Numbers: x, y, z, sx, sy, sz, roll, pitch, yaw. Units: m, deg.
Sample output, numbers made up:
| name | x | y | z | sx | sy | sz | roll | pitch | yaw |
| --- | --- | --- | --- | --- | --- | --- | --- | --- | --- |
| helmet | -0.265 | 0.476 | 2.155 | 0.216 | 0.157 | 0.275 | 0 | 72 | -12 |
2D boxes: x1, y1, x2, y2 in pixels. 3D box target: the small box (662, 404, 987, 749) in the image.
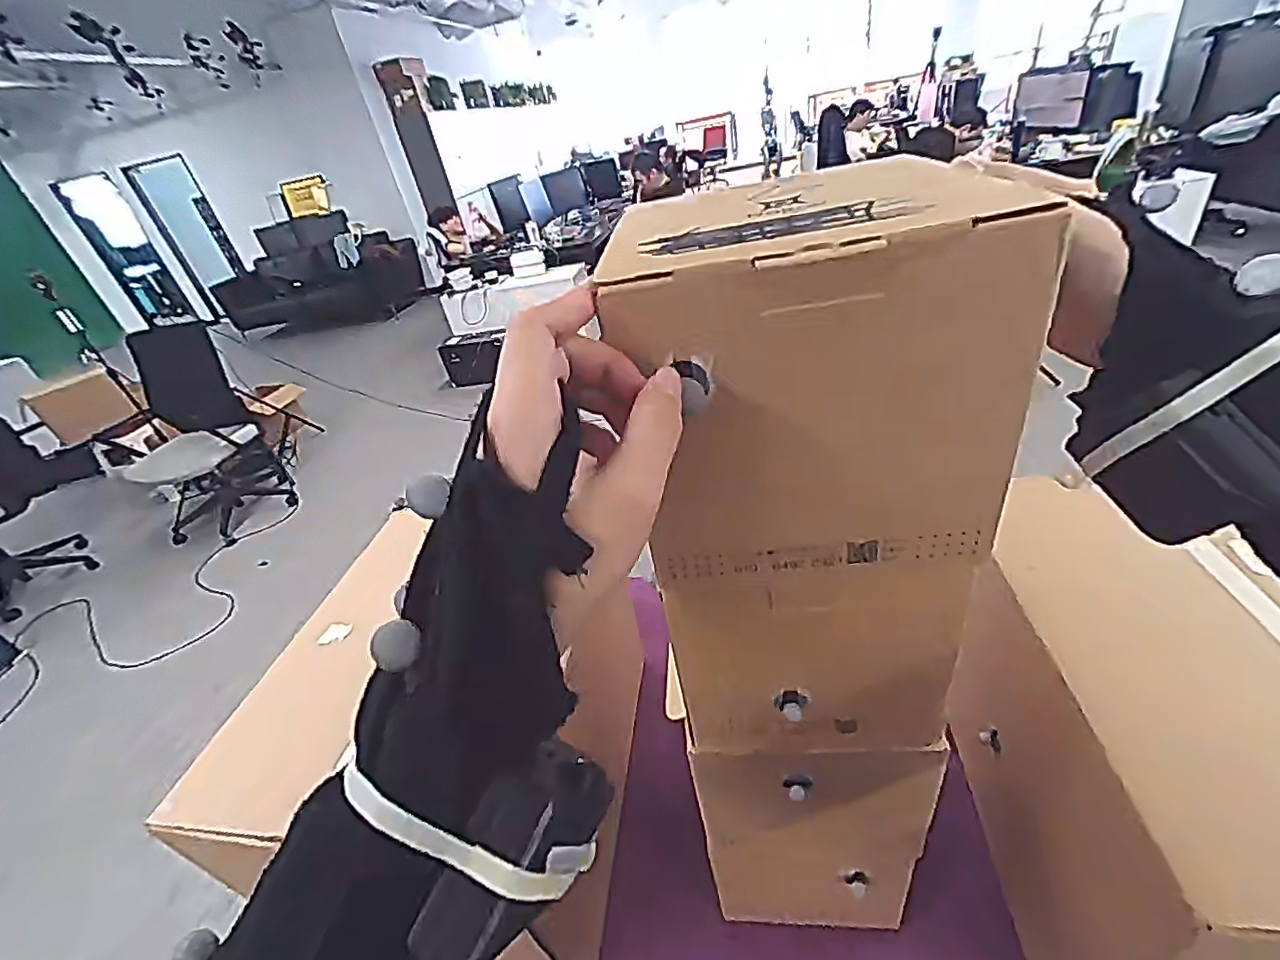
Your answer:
| name | x | y | z | sx | sy | sz | roll | pitch | yaw |
| --- | --- | --- | --- | --- | --- | --- | --- | --- | --- |
| small box | 0.110 | 0.065 | 0.390 | 0.168 | 0.176 | 0.179 | -6 | 35 | 9 |

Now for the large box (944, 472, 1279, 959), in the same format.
| name | x | y | z | sx | sy | sz | roll | pitch | yaw |
| --- | --- | --- | --- | --- | --- | --- | --- | --- | --- |
| large box | 0.493 | 0.237 | 0.482 | 0.320 | 0.320 | 0.408 | -4 | 33 | 12 |
